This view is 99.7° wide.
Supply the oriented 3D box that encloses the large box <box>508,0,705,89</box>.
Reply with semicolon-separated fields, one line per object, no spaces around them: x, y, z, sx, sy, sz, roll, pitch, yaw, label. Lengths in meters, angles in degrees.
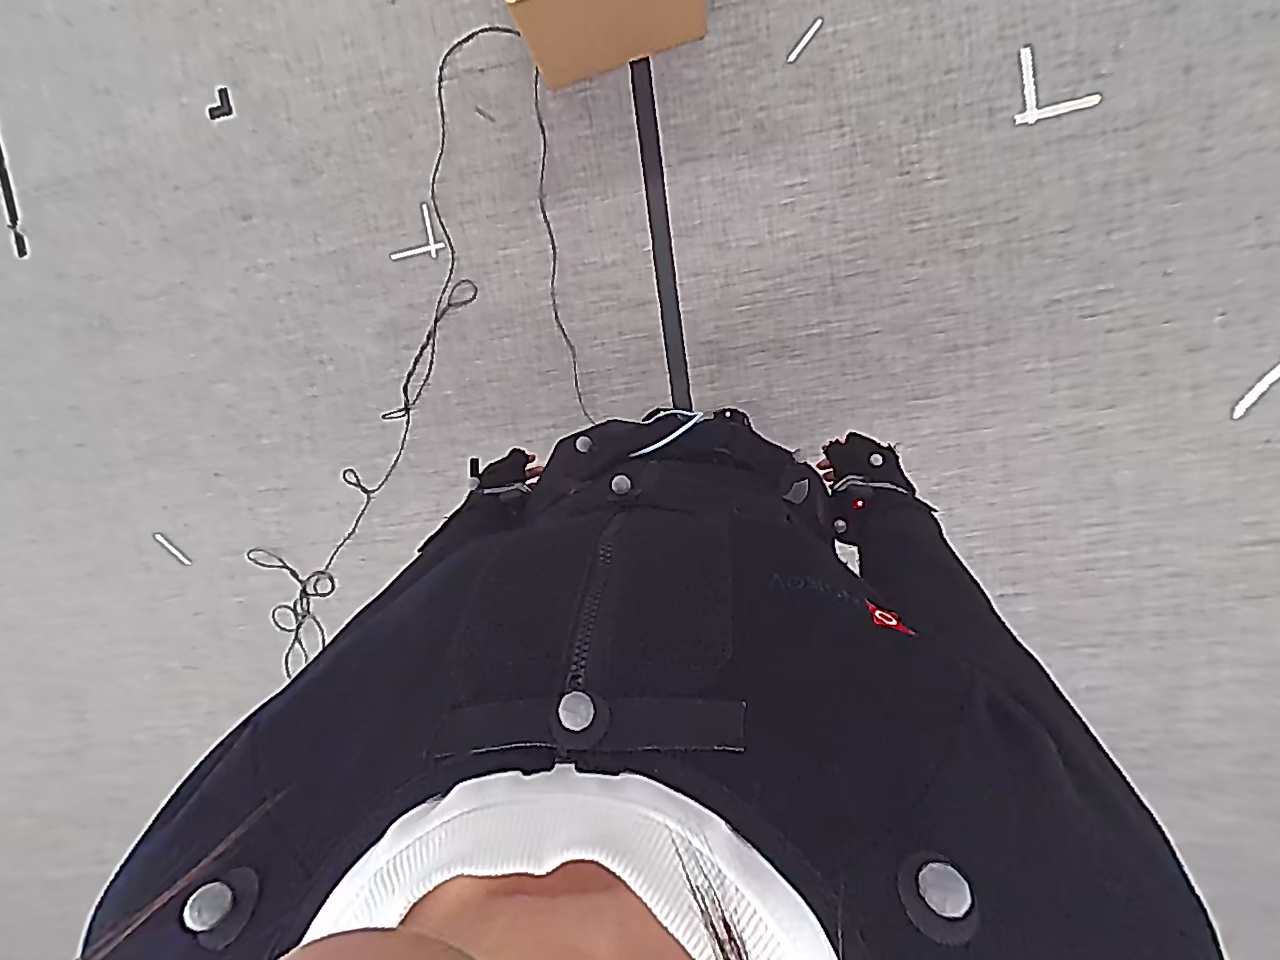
-0.091;-1.137;1.152;0.408;0.320;0.320;-14;97;8;large box
